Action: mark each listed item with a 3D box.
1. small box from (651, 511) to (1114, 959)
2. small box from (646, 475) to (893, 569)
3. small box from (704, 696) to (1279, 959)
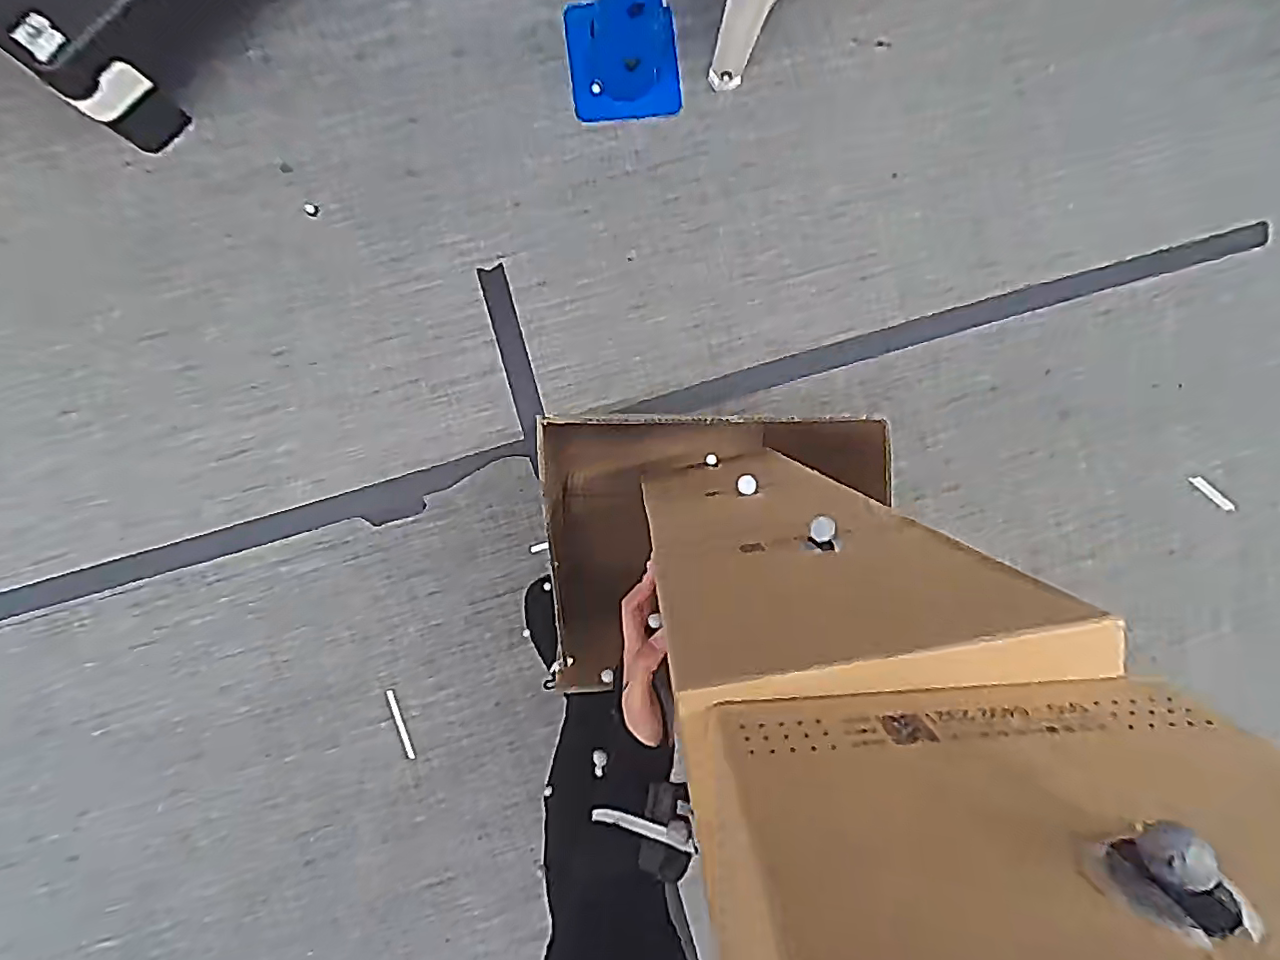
[{"bbox_3d":[0.100,0.129,0.291,0.168,0.176,0.179,-9,100,0],"label":"small box"},{"bbox_3d":[0.099,0.104,0.452,0.168,0.176,0.179,-10,99,0],"label":"small box"},{"bbox_3d":[0.109,0.170,0.131,0.168,0.176,0.179,-3,100,-1],"label":"small box"}]
